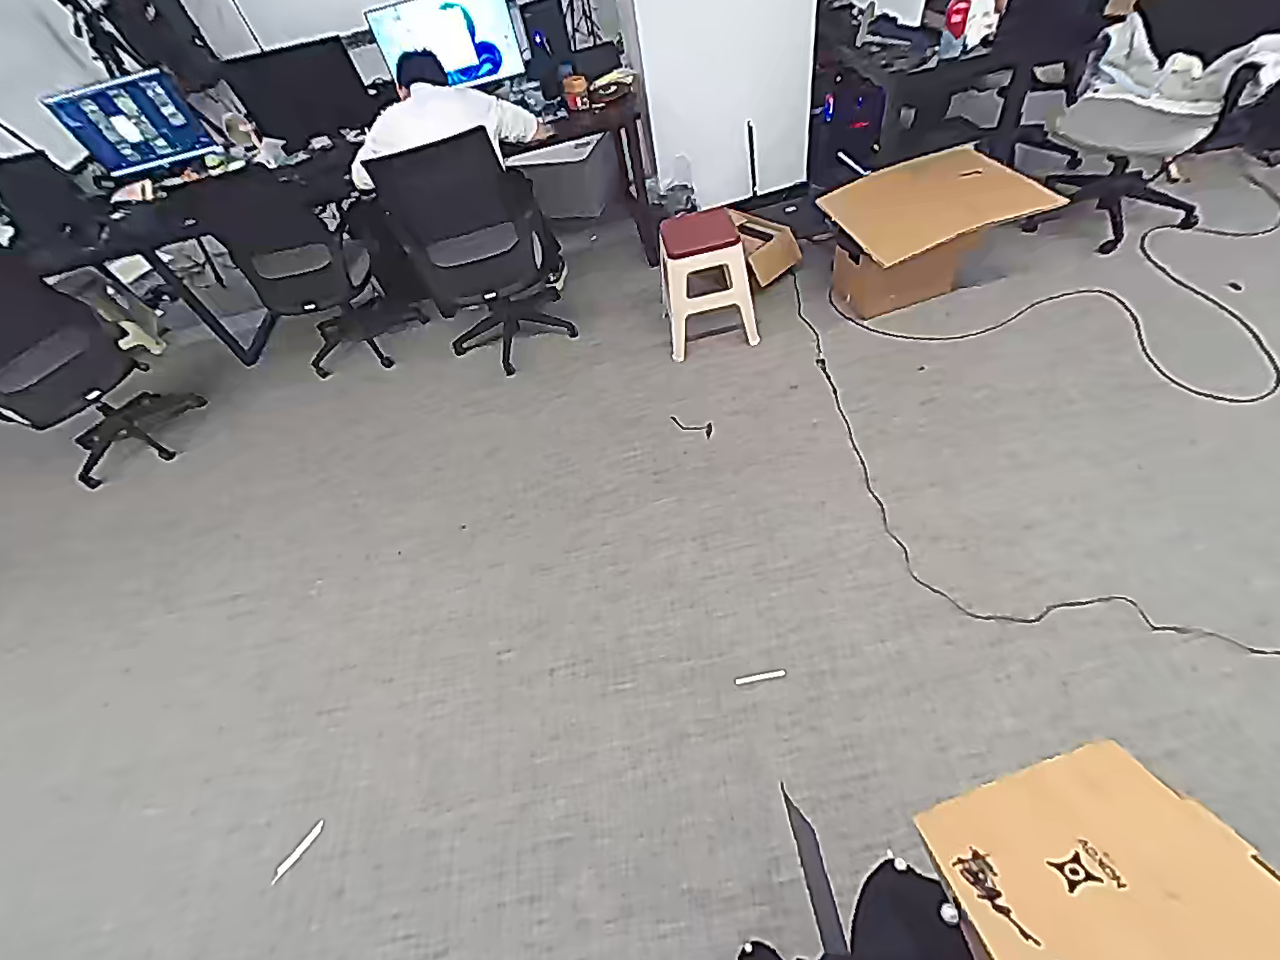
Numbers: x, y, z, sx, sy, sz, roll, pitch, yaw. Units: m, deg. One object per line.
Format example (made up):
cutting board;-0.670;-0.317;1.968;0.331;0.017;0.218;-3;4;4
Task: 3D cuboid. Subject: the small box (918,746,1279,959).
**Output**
small box;0.348;0.344;0.396;0.179;0.176;0.168;-25;11;6
